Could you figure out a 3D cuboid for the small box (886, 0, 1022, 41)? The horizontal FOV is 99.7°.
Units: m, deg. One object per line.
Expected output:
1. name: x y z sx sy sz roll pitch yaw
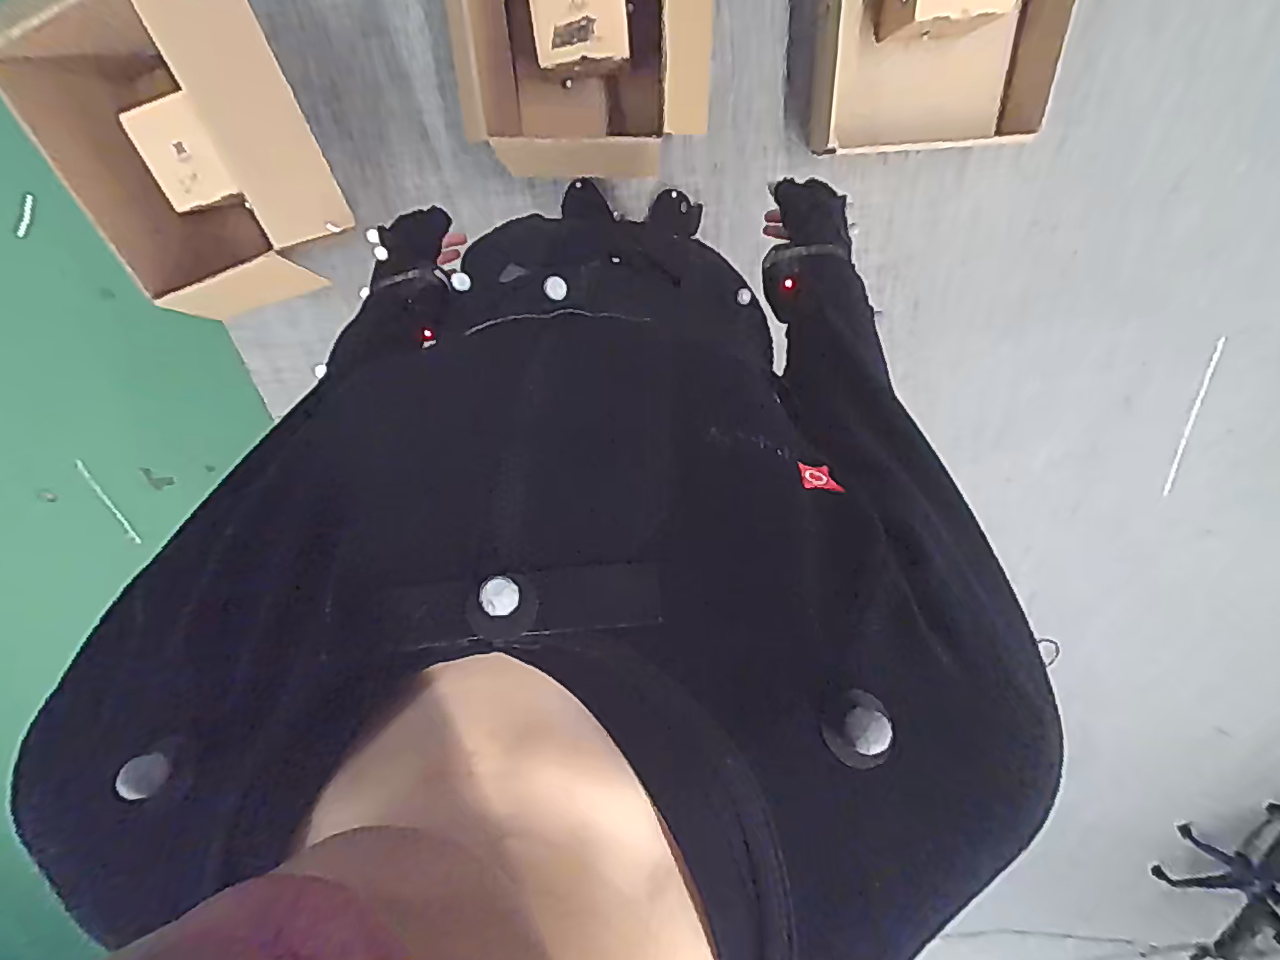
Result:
1. small box: 0.542 -0.886 0.926 0.168 0.176 0.179 -3 119 3
